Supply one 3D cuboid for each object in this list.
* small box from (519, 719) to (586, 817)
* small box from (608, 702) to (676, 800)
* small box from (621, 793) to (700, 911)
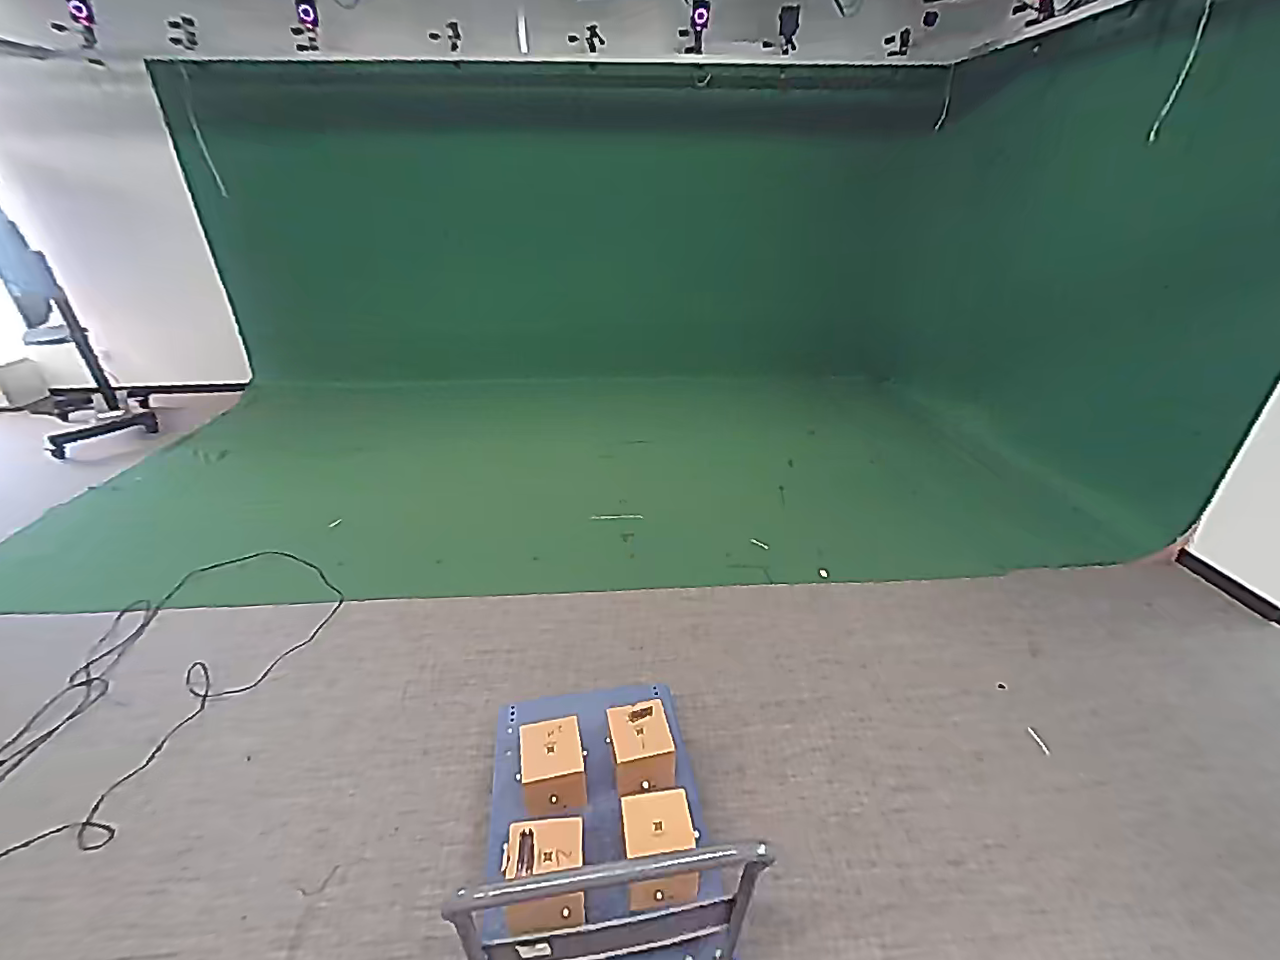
[{"bbox_3d":[-0.245,0.811,1.514,0.168,0.176,0.179,-5,29,-11],"label":"small box"},{"bbox_3d":[0.000,0.783,1.564,0.168,0.176,0.179,-7,31,-11],"label":"small box"},{"bbox_3d":[0.043,0.914,1.332,0.168,0.176,0.179,-4,30,-7],"label":"small box"}]
